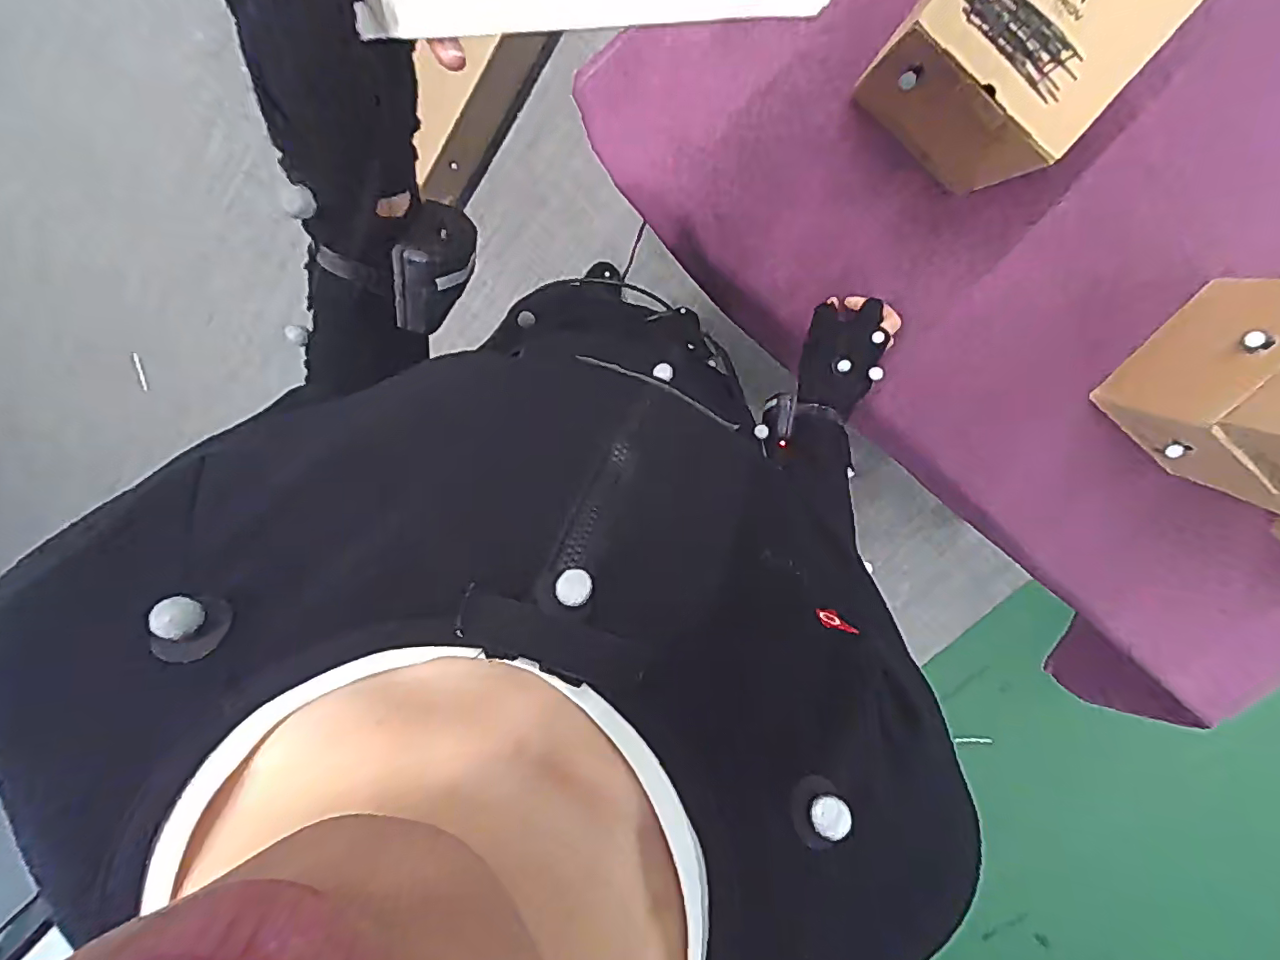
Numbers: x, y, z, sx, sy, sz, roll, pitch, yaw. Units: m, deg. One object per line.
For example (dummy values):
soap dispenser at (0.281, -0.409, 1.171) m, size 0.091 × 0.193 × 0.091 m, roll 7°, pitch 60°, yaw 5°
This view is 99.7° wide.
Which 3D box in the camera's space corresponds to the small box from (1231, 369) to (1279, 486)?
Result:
small box at (0.662, -0.046, 0.427) m, size 0.168 × 0.176 × 0.179 m, roll 40°, pitch 107°, yaw -10°

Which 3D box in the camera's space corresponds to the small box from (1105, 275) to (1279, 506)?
small box at (0.665, -0.098, 0.584) m, size 0.168 × 0.176 × 0.179 m, roll 37°, pitch 107°, yaw -9°
